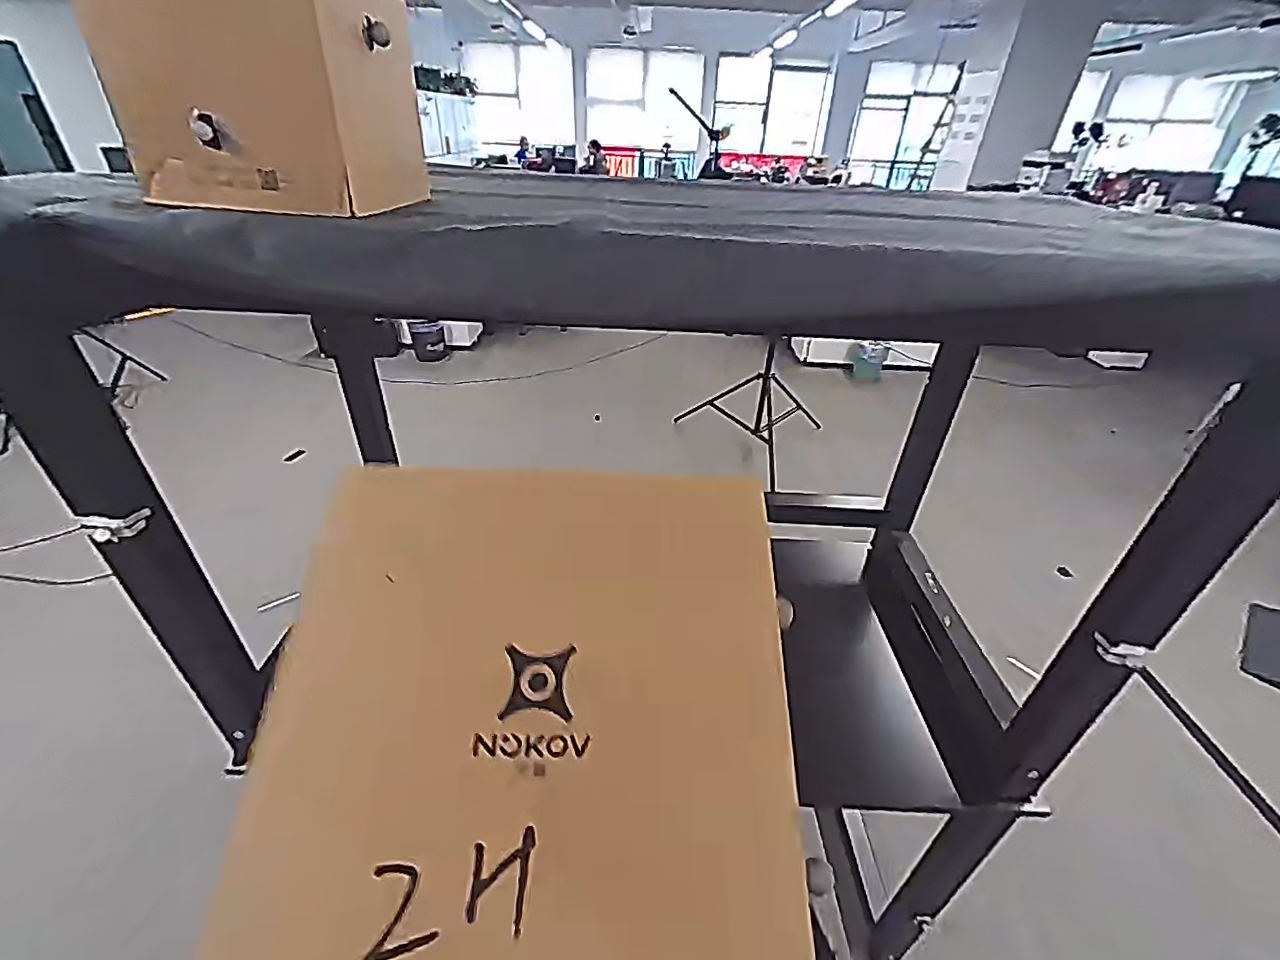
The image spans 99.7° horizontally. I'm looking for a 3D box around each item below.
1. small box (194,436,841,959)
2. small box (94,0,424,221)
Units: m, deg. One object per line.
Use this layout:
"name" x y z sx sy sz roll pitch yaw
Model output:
"small box" -0.032 0.099 0.239 0.168 0.176 0.179 1 64 -1
"small box" -0.295 -0.324 0.454 0.168 0.176 0.179 3 32 -1
